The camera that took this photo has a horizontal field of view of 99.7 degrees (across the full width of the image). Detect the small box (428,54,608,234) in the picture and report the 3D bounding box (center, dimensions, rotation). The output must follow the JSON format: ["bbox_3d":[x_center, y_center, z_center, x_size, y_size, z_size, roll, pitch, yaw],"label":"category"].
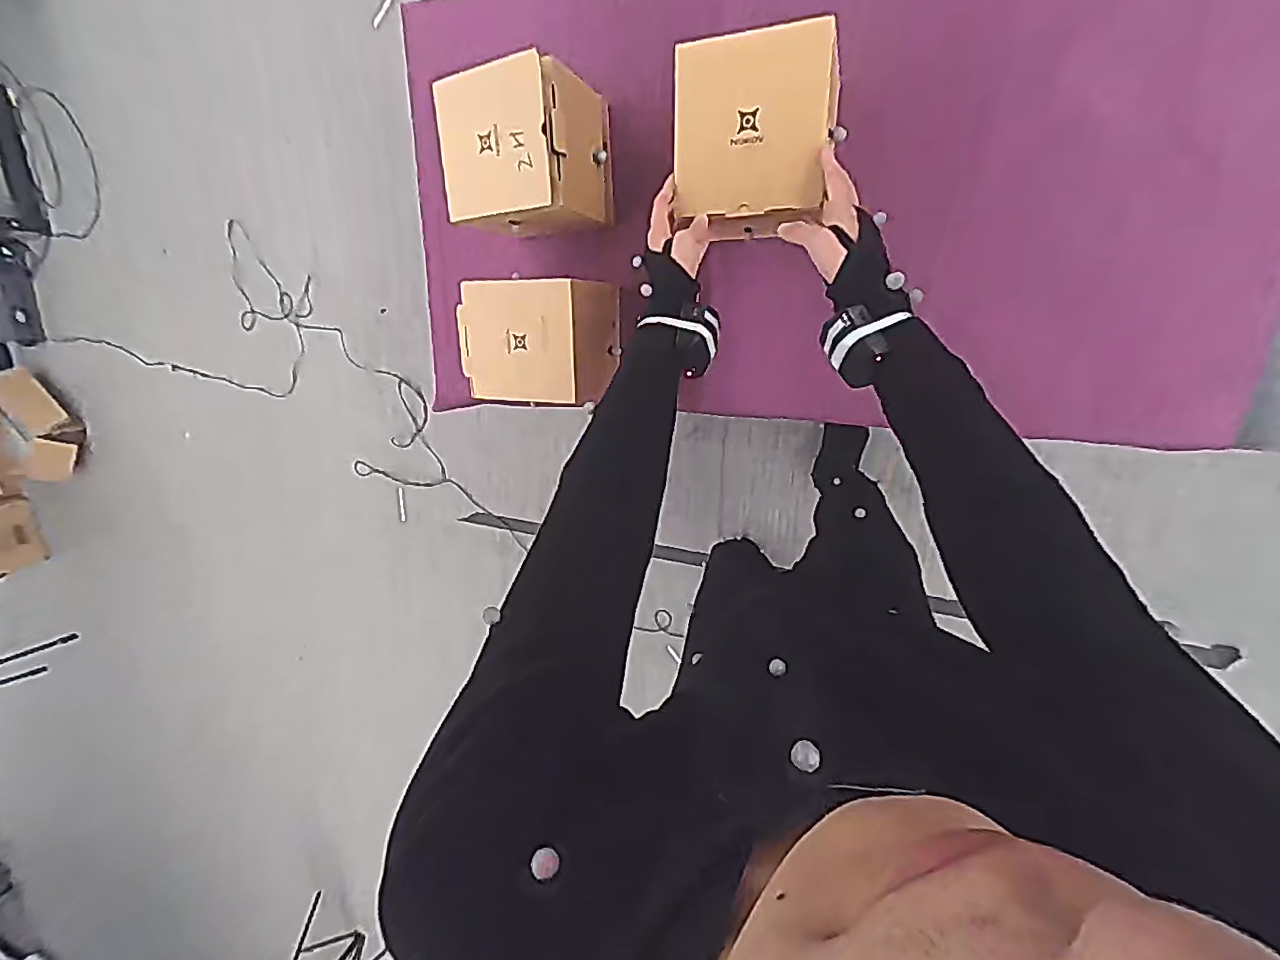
[{"bbox_3d":[-0.158,-0.444,0.748,0.179,0.176,0.168,4,108,19],"label":"small box"}]

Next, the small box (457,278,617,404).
[{"bbox_3d":[-0.146,-0.212,0.816,0.179,0.176,0.168,6,108,19],"label":"small box"}]
